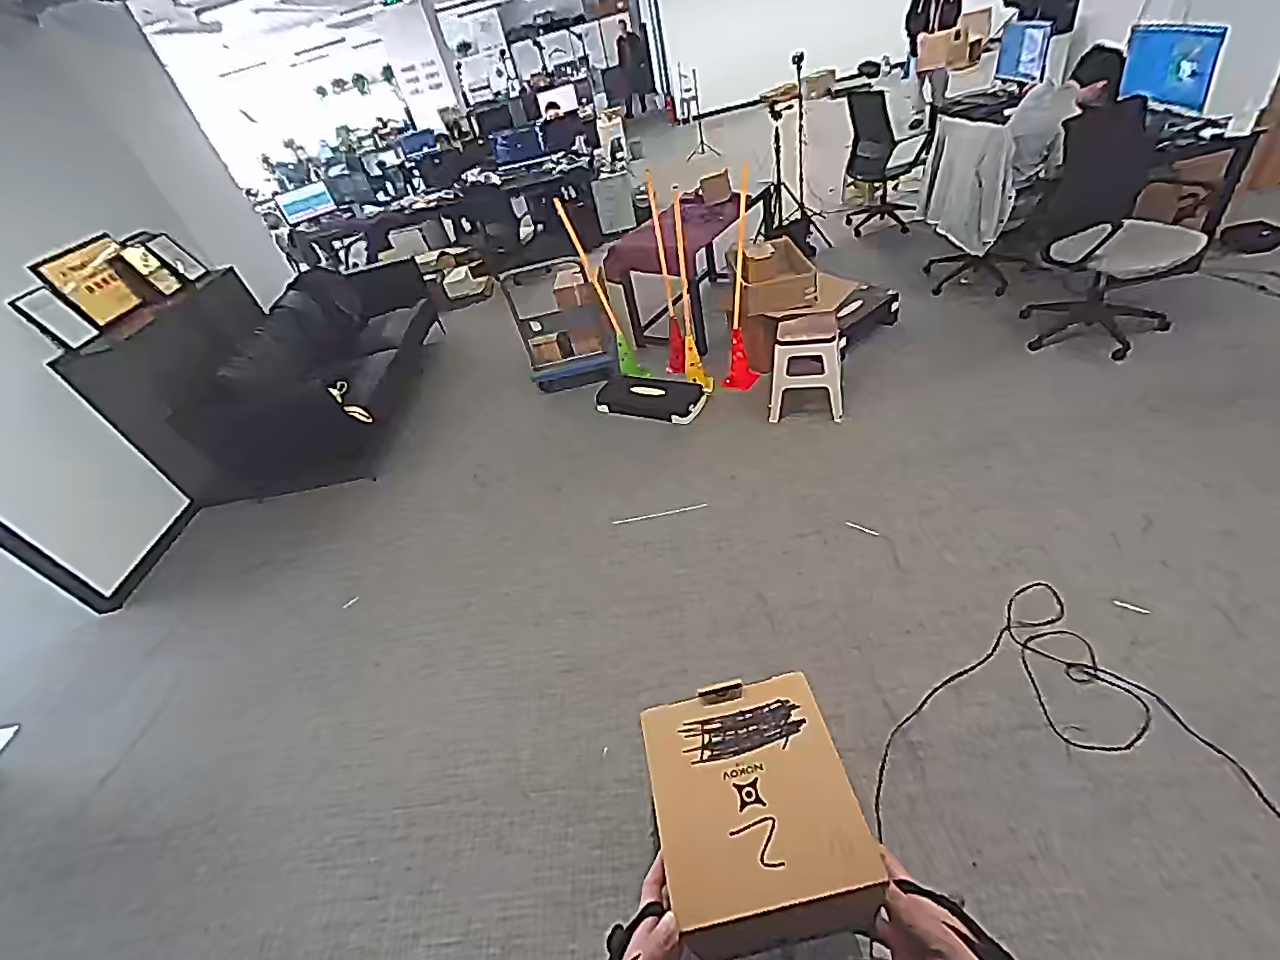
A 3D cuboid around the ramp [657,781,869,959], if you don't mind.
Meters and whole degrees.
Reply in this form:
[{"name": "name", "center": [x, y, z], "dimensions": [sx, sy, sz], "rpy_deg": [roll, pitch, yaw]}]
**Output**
[{"name": "ramp", "center": [0.293, 1.198, 1.215], "dimensions": [0.509, 0.206, 0.991], "rpy_deg": [-13, 39, 5]}]
